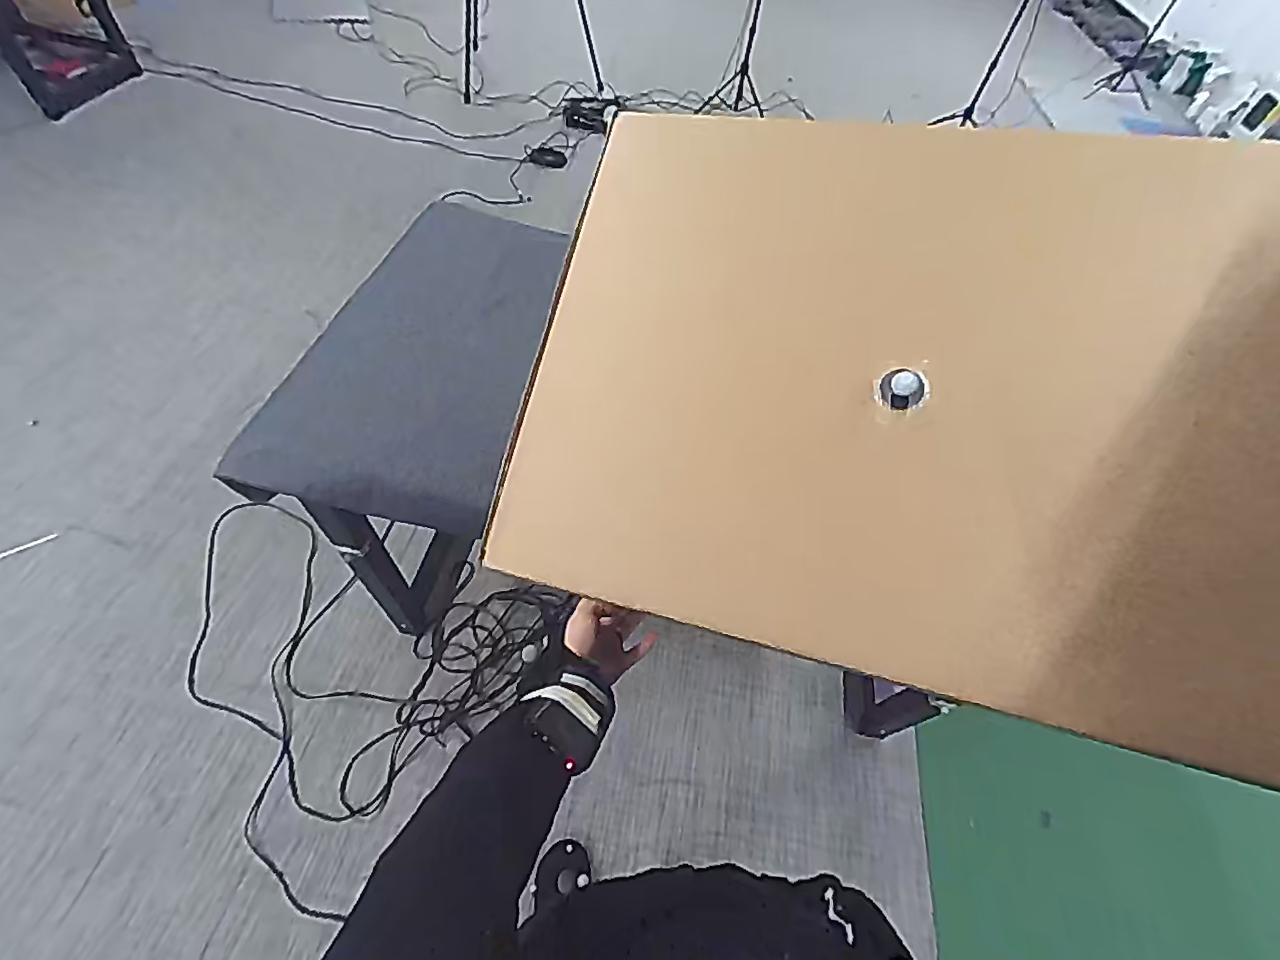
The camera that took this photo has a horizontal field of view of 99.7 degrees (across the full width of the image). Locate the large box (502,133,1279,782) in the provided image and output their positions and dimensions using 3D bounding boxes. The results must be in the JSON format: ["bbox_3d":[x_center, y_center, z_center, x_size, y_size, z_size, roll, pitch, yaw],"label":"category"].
[{"bbox_3d":[0.166,-0.016,0.434,0.408,0.320,0.320,11,80,13],"label":"large box"}]
